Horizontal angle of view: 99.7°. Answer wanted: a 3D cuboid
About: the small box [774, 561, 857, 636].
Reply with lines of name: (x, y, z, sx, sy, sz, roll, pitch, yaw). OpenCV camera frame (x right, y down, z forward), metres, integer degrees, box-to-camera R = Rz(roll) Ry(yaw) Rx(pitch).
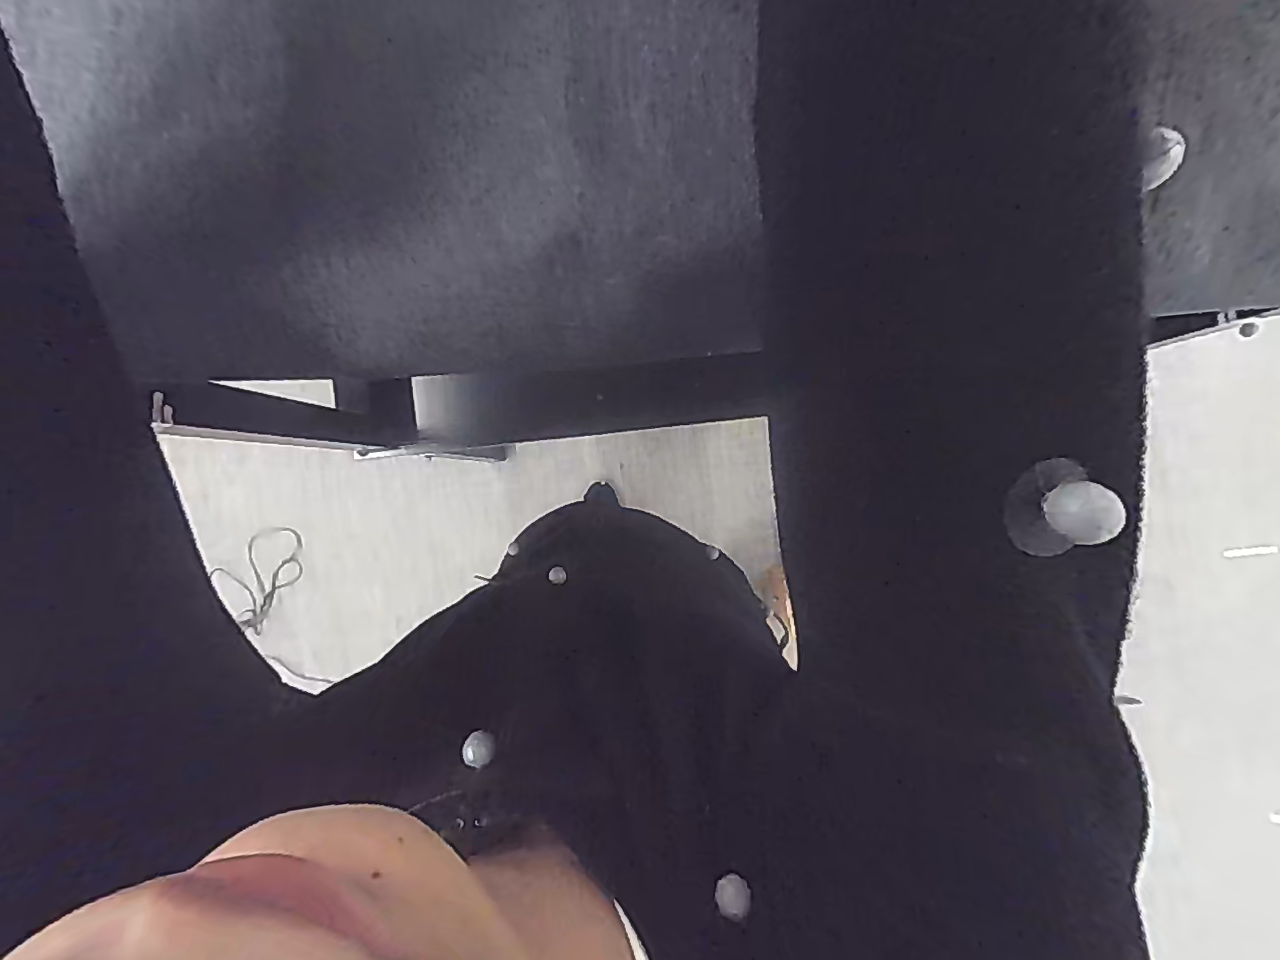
small box: (0.497, 0.334, 1.549, 0.179, 0.176, 0.168, -8, 90, 2)
